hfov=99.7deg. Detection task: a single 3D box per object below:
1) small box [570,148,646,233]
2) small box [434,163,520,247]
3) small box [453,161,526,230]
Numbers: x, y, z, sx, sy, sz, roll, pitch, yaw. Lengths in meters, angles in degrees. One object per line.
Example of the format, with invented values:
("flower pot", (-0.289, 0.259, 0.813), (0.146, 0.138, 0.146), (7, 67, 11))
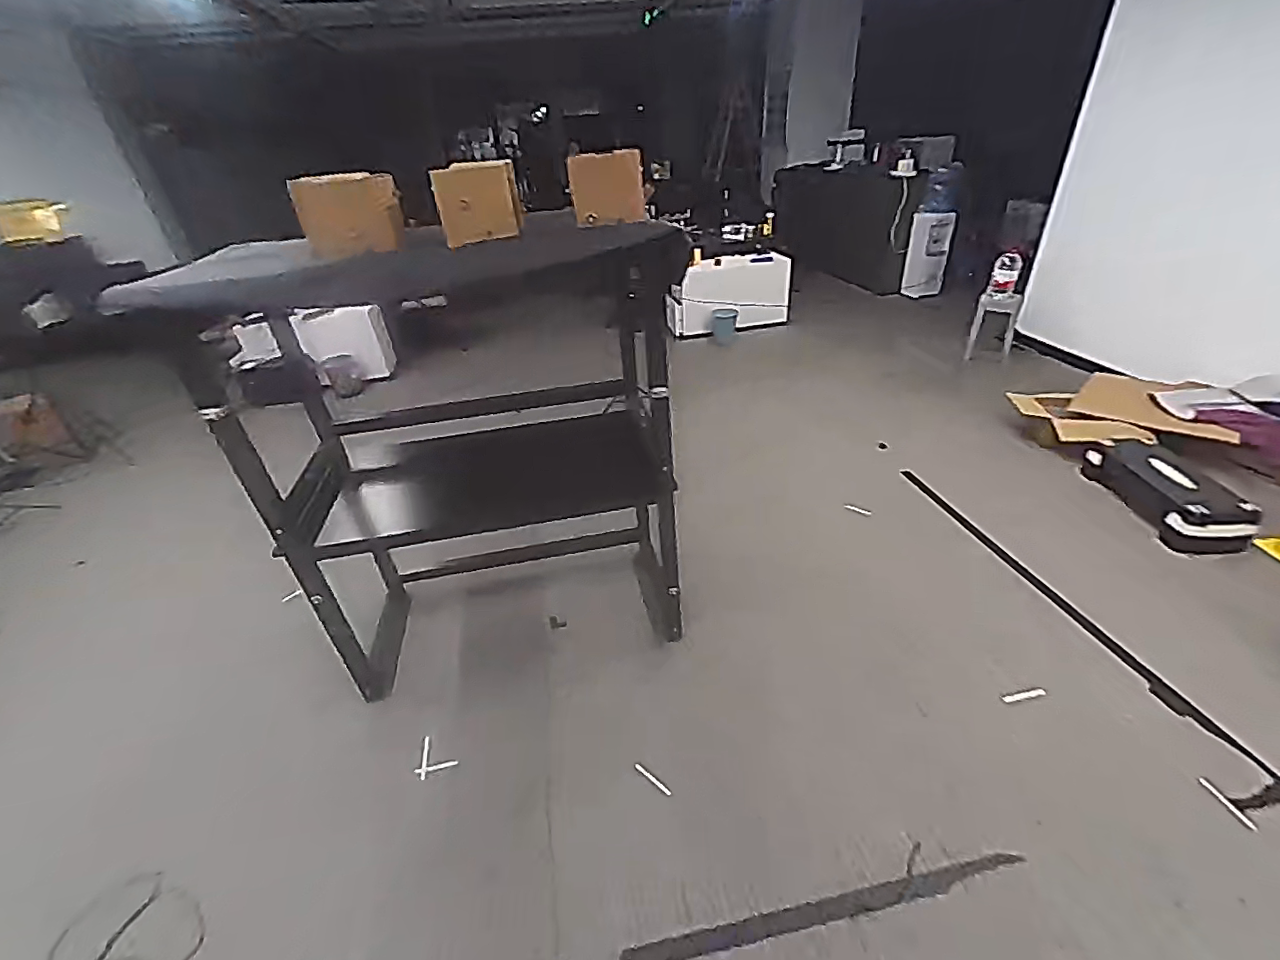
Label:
("small box", (-0.081, -0.720, 1.353), (0.168, 0.176, 0.179), (-8, 29, -5))
("small box", (-0.394, -0.680, 1.341), (0.168, 0.176, 0.179), (-9, 31, -7))
("small box", (-0.426, -0.814, 1.555), (0.168, 0.176, 0.179), (-10, 32, -7))
